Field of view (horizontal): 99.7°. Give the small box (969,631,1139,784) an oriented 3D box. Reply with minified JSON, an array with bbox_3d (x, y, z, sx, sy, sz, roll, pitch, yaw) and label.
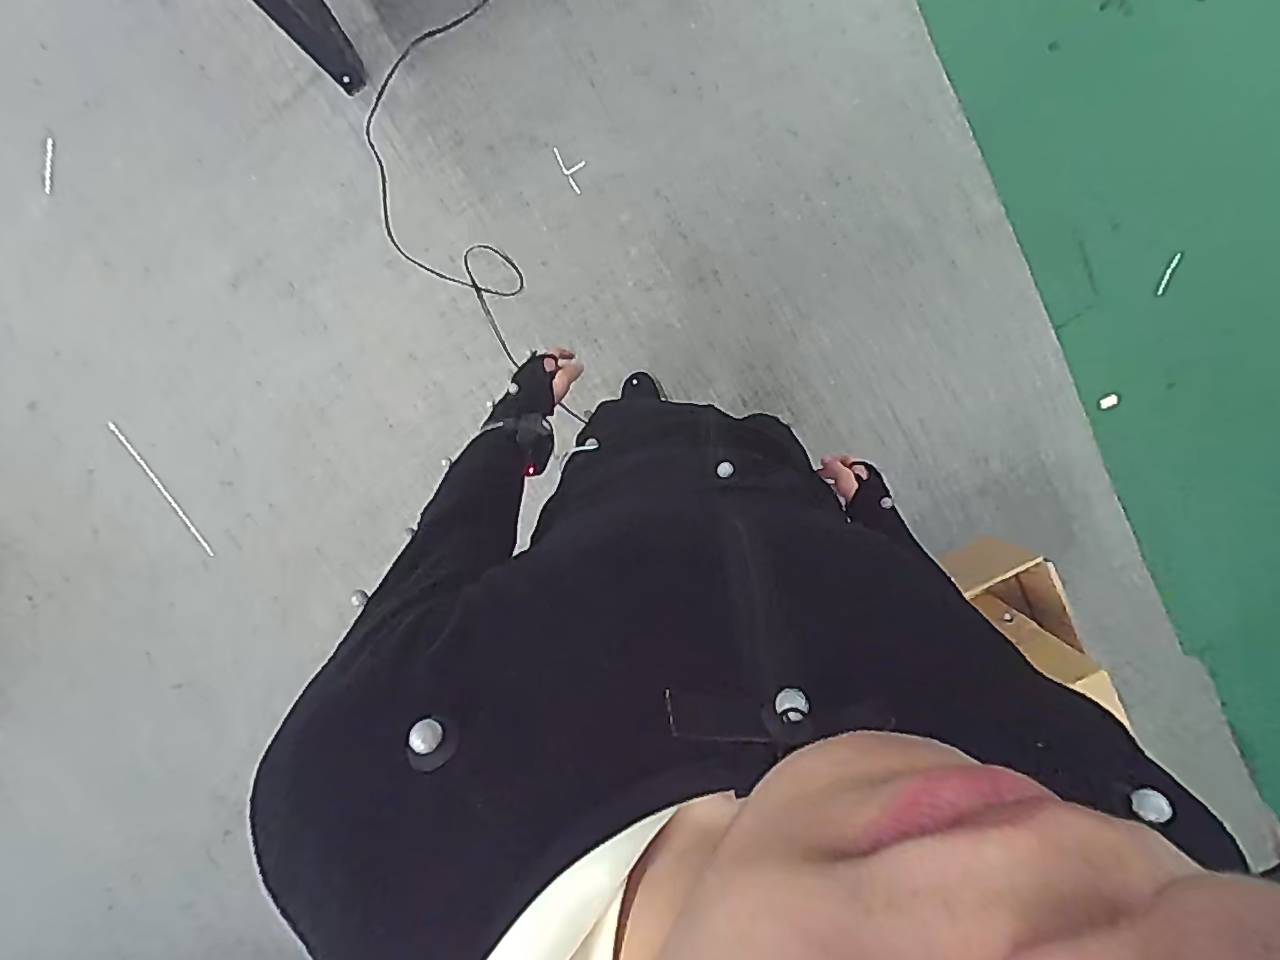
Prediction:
[{"bbox_3d":[0.777,0.424,1.032,0.168,0.176,0.179,-28,100,5],"label":"small box"}]
